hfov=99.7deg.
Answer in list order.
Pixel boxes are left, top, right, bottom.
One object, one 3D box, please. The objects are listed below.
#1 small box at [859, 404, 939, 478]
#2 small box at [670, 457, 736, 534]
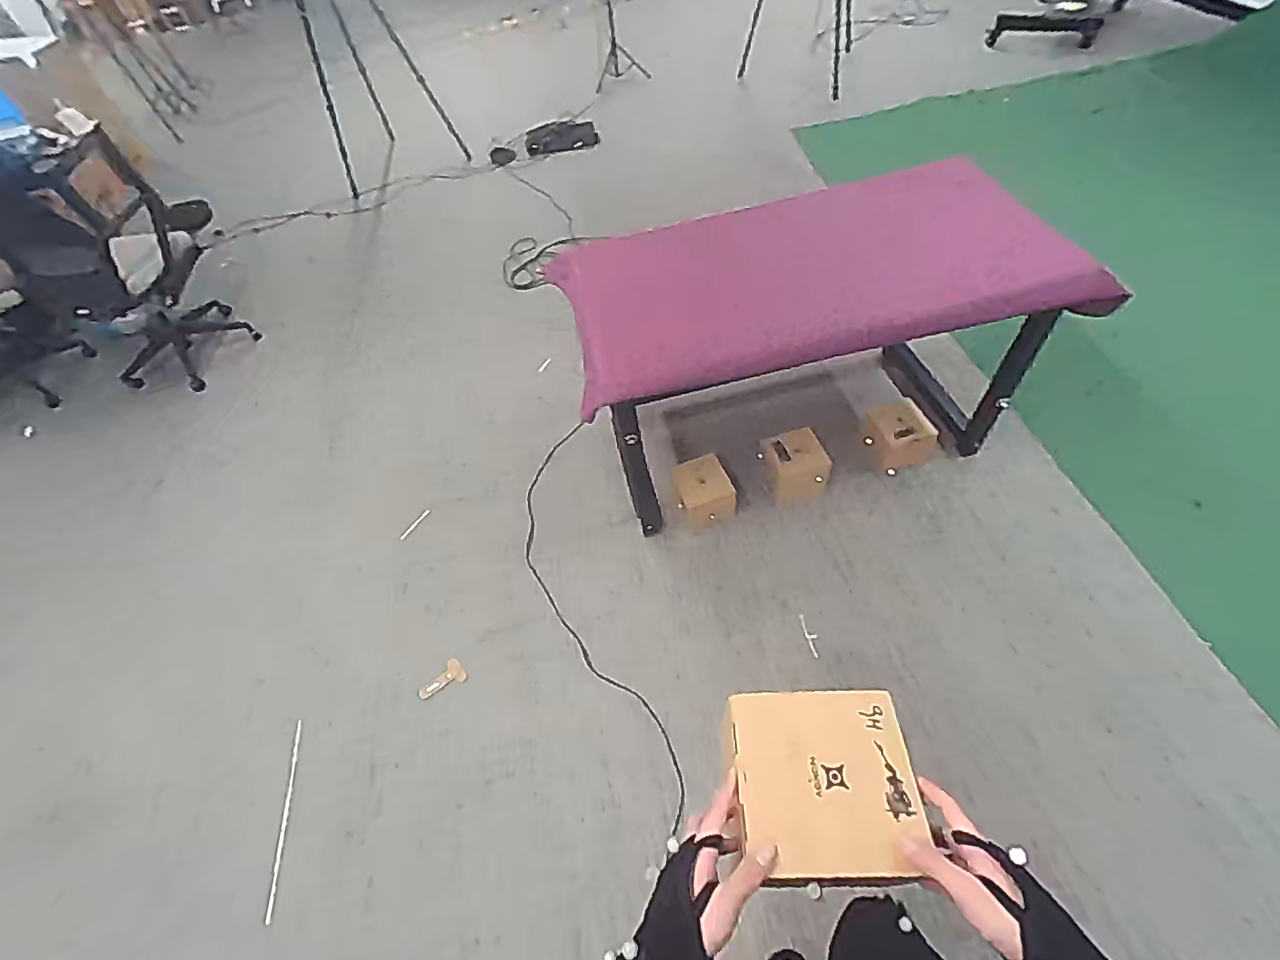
[{"bbox_3d":[0.871,-0.125,1.837,0.168,0.176,0.179,-15,52,-3],"label":"small box"},{"bbox_3d":[0.211,0.060,1.800,0.168,0.176,0.179,-20,54,-6],"label":"small box"}]
